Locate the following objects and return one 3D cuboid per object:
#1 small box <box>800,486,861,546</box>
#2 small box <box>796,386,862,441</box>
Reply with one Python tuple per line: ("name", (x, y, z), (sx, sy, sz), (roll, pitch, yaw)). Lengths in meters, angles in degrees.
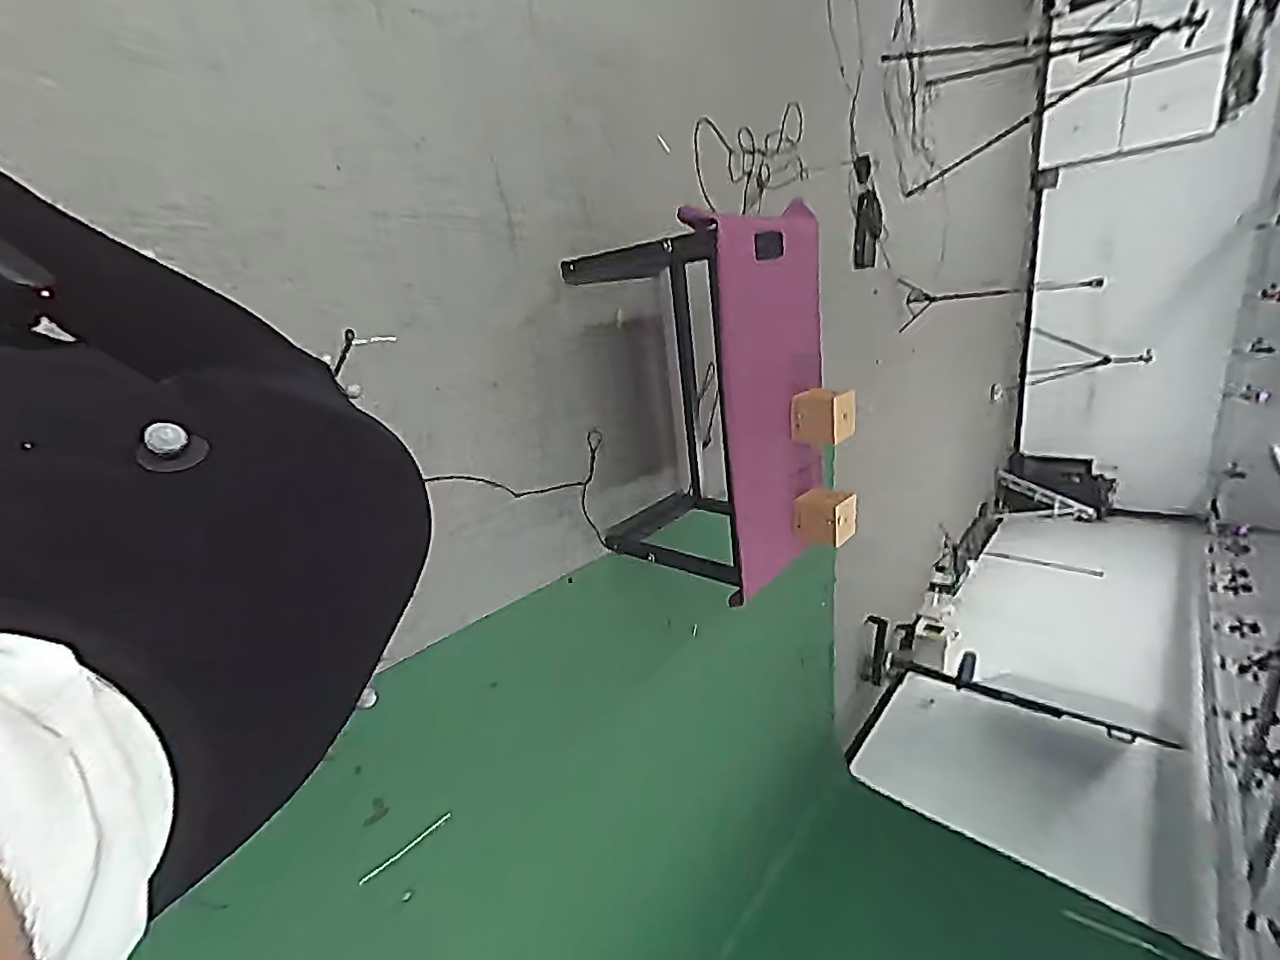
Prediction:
("small box", (0.720, 0.129, 2.044), (0.179, 0.176, 0.168), (-22, 112, -43))
("small box", (0.674, -0.242, 1.929), (0.179, 0.176, 0.168), (-23, 113, -41))
